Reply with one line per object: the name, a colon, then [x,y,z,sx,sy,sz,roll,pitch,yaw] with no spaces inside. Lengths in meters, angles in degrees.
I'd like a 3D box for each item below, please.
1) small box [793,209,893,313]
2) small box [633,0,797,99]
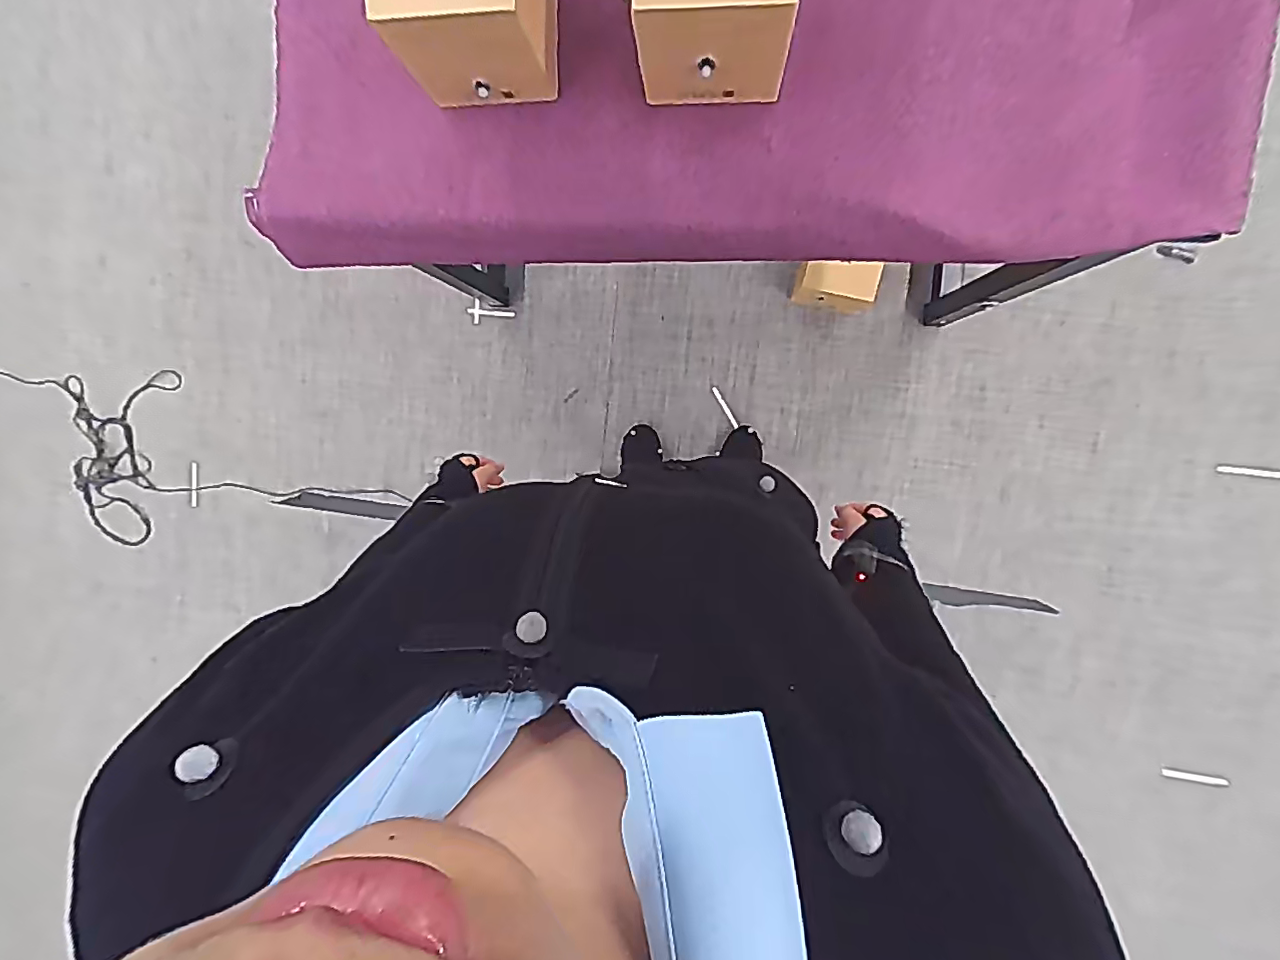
small box: [0.477,-0.516,1.301,0.168,0.176,0.179,14,97,5]
small box: [0.088,-0.560,0.601,0.168,0.176,0.179,4,96,5]
